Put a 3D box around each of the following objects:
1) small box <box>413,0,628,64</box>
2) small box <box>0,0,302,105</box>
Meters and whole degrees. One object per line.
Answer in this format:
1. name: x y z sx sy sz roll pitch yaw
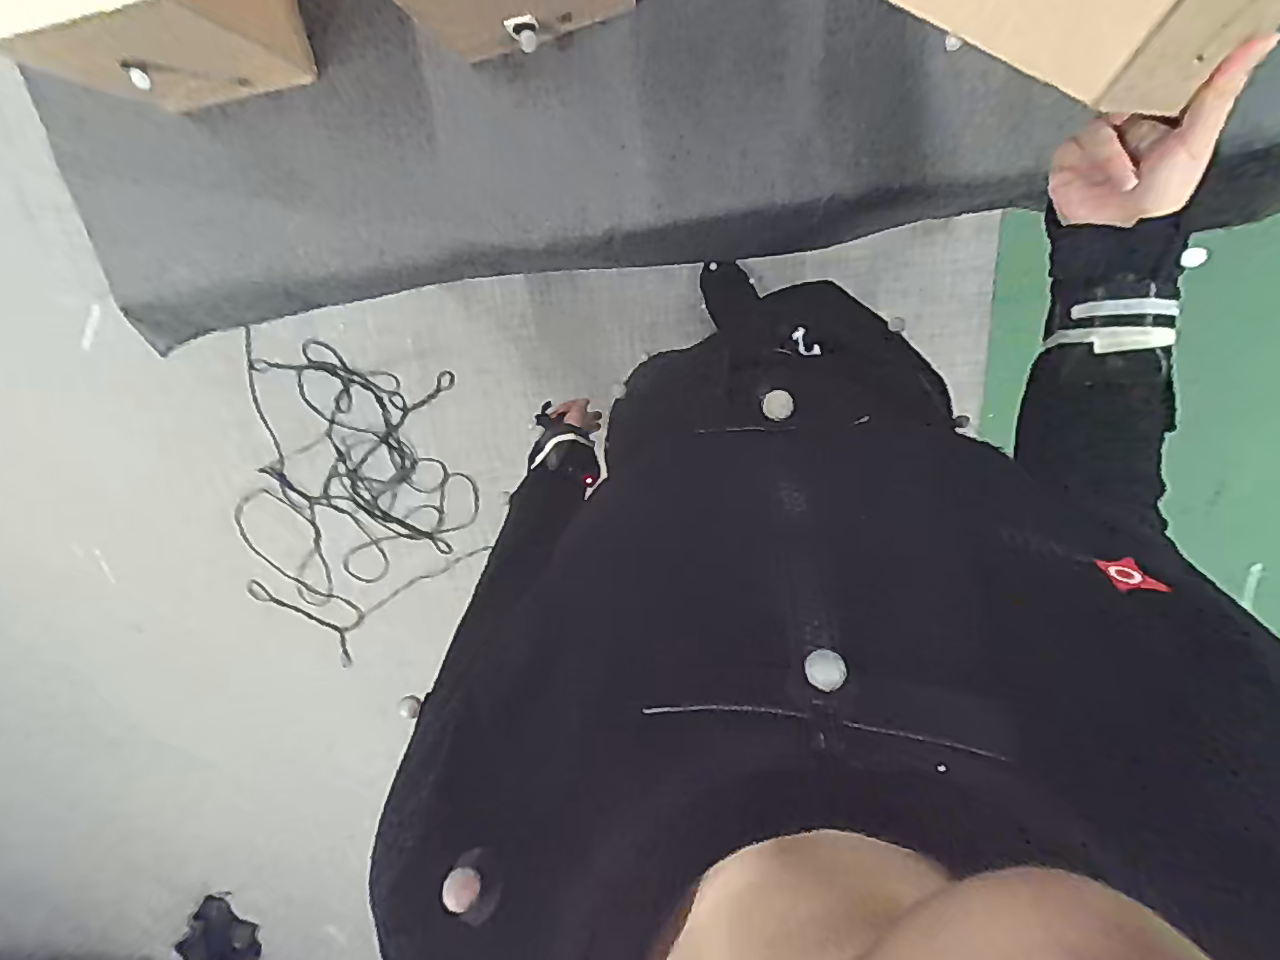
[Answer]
1. small box: -0.112 -0.446 0.380 0.168 0.176 0.179 -12 108 11
2. small box: -0.408 -0.422 0.420 0.168 0.176 0.179 -6 107 8
